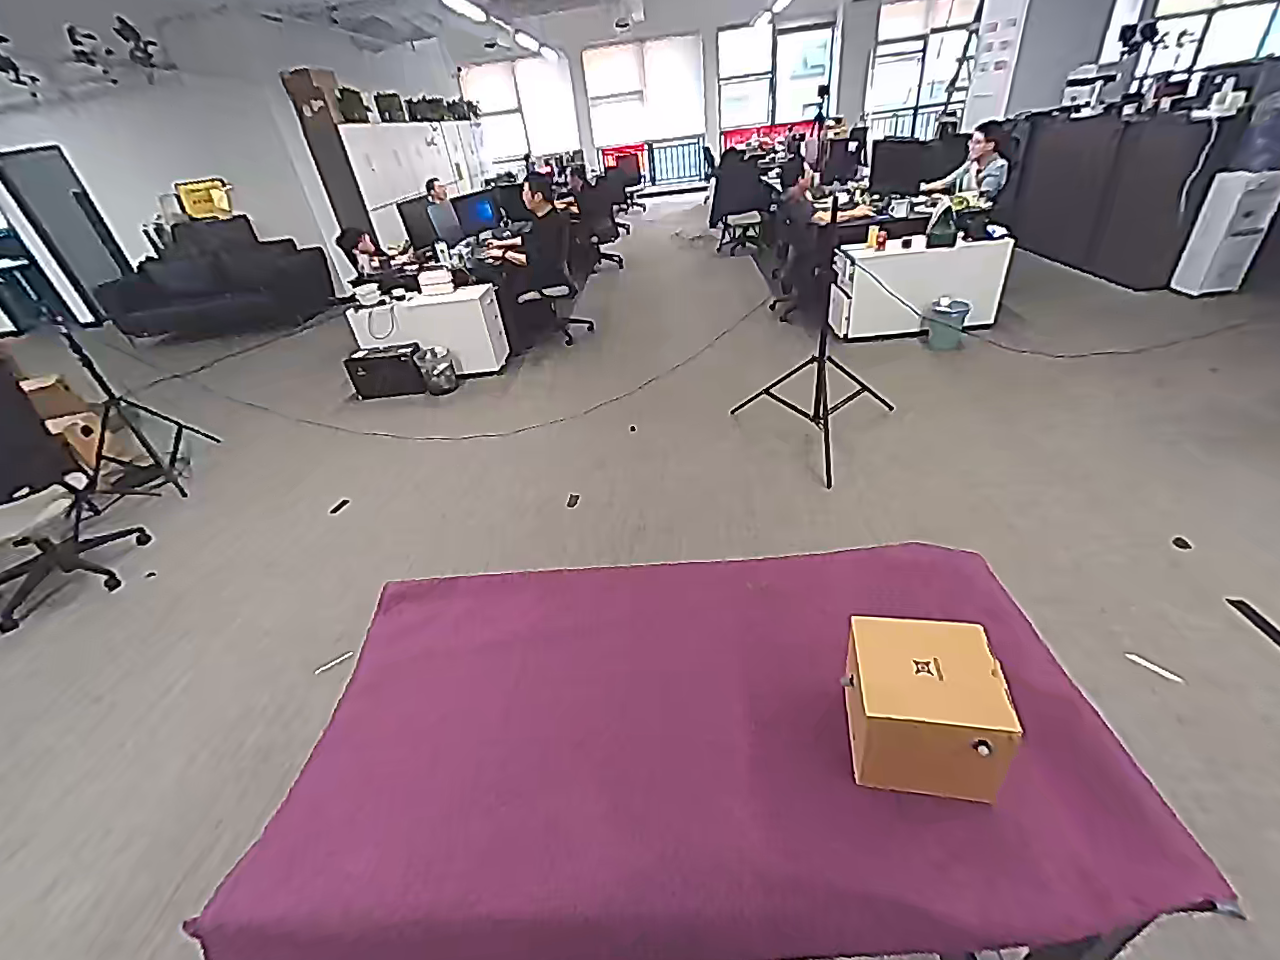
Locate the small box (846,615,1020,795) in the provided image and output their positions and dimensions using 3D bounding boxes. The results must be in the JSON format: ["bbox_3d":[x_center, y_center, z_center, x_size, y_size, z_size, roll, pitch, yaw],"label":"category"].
[{"bbox_3d":[0.391,0.313,0.761,0.179,0.176,0.168,0,34,13],"label":"small box"}]
